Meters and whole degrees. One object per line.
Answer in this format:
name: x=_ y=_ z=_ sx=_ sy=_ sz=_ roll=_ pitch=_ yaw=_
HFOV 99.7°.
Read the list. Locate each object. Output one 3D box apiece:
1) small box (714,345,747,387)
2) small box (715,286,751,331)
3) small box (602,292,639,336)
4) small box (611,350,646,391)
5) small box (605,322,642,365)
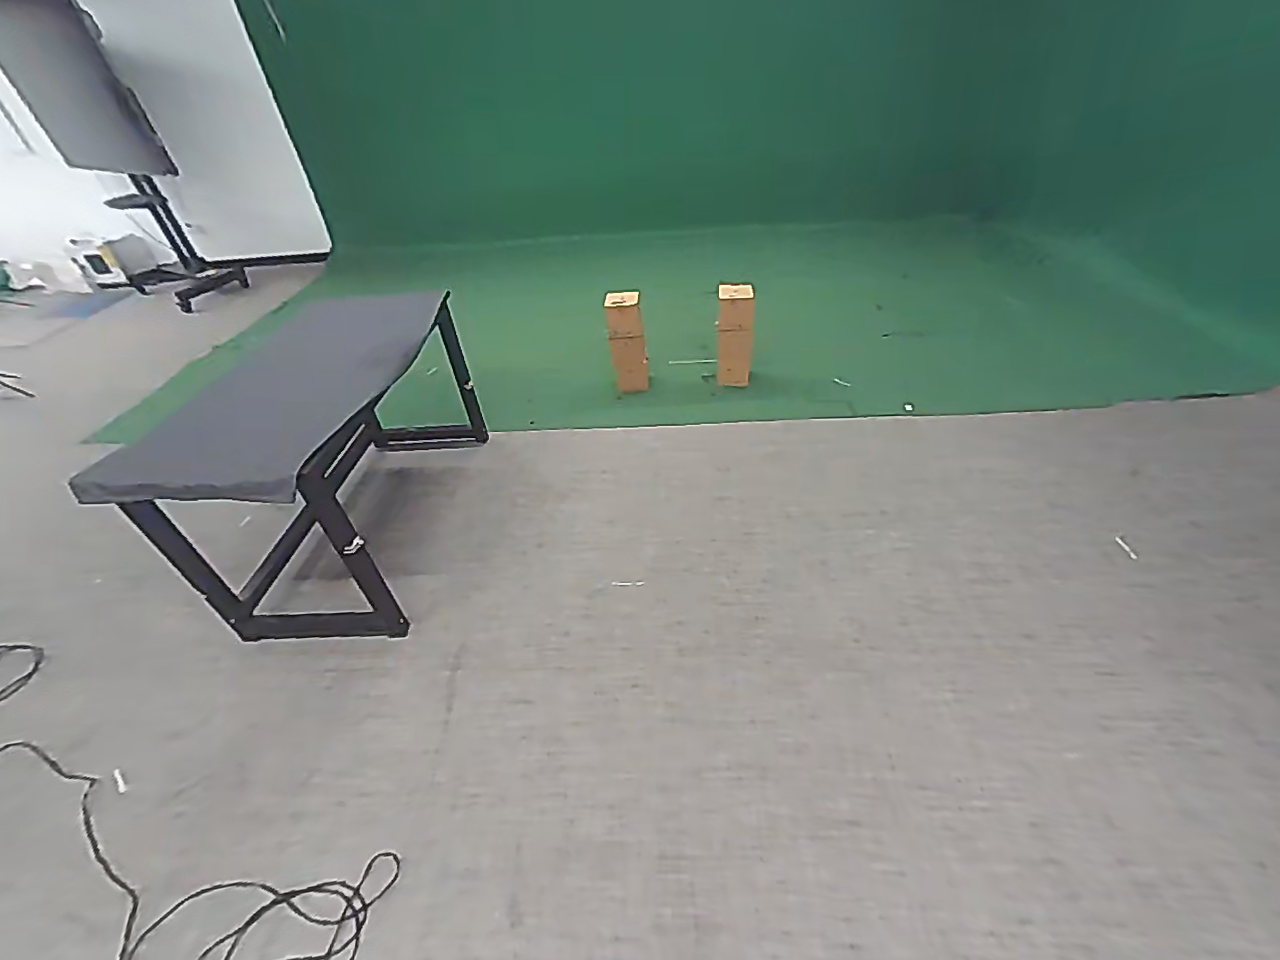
small box: x=0.493 y=-0.622 z=2.945 sx=0.168 sy=0.176 sz=0.179 roll=3 pitch=40 yaw=9
small box: x=0.466 y=-0.867 z=2.727 sx=0.168 sy=0.176 sz=0.179 roll=1 pitch=39 yaw=6
small box: x=-0.095 y=-0.840 z=2.751 sx=0.168 sy=0.176 sz=0.179 roll=-2 pitch=40 yaw=5
small box: x=-0.060 y=-0.600 z=2.970 sx=0.179 sy=0.176 sz=0.168 roll=-2 pitch=41 yaw=3
small box: x=-0.084 y=-0.723 z=2.866 sx=0.179 sy=0.176 sz=0.168 roll=0 pitch=41 yaw=5
